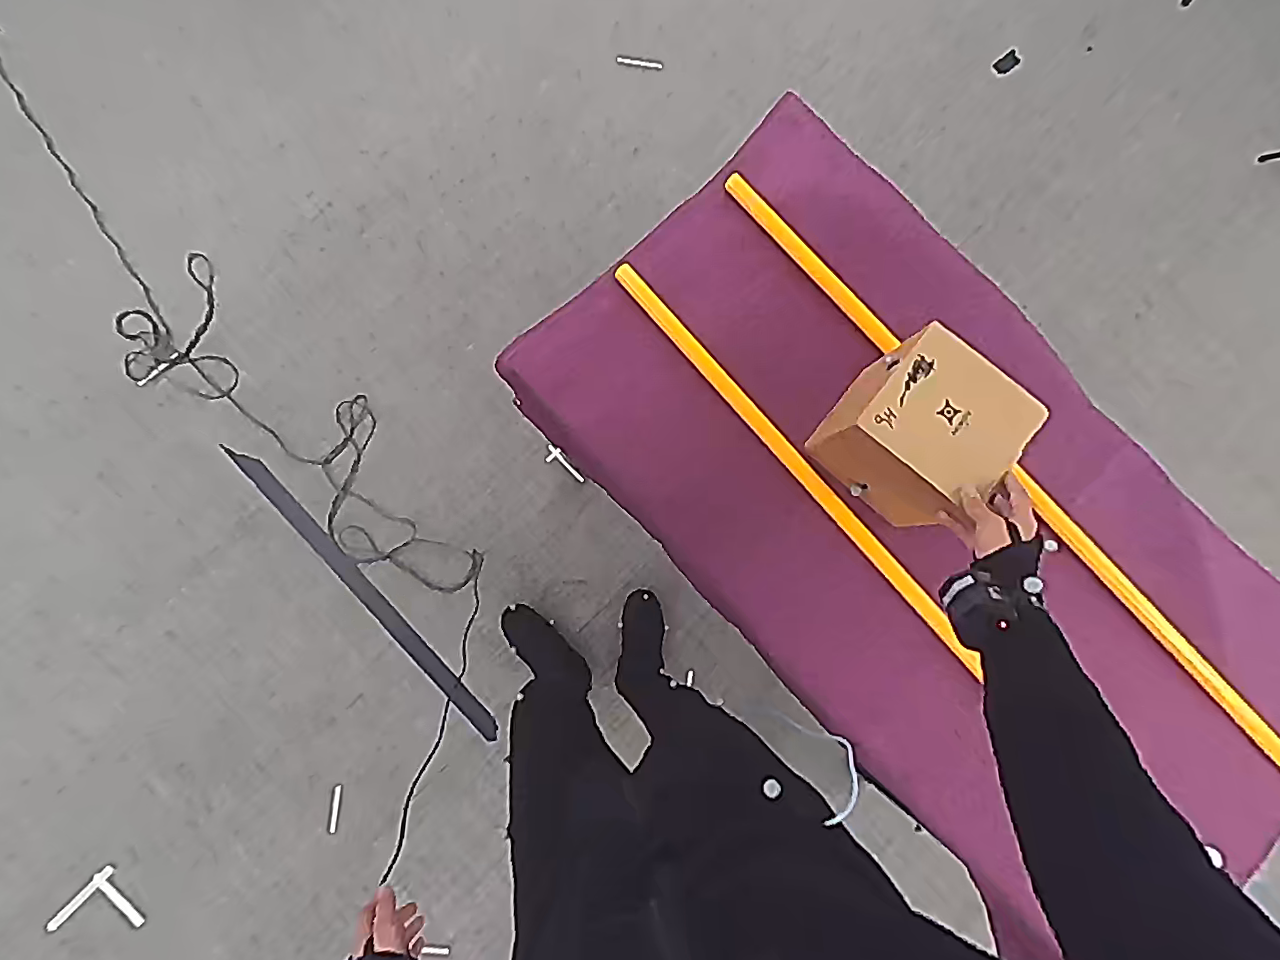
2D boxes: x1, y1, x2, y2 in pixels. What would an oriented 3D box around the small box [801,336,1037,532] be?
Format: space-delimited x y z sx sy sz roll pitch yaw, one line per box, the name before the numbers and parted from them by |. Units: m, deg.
small box | 0.348 -0.049 0.708 0.179 0.176 0.168 40 82 1
